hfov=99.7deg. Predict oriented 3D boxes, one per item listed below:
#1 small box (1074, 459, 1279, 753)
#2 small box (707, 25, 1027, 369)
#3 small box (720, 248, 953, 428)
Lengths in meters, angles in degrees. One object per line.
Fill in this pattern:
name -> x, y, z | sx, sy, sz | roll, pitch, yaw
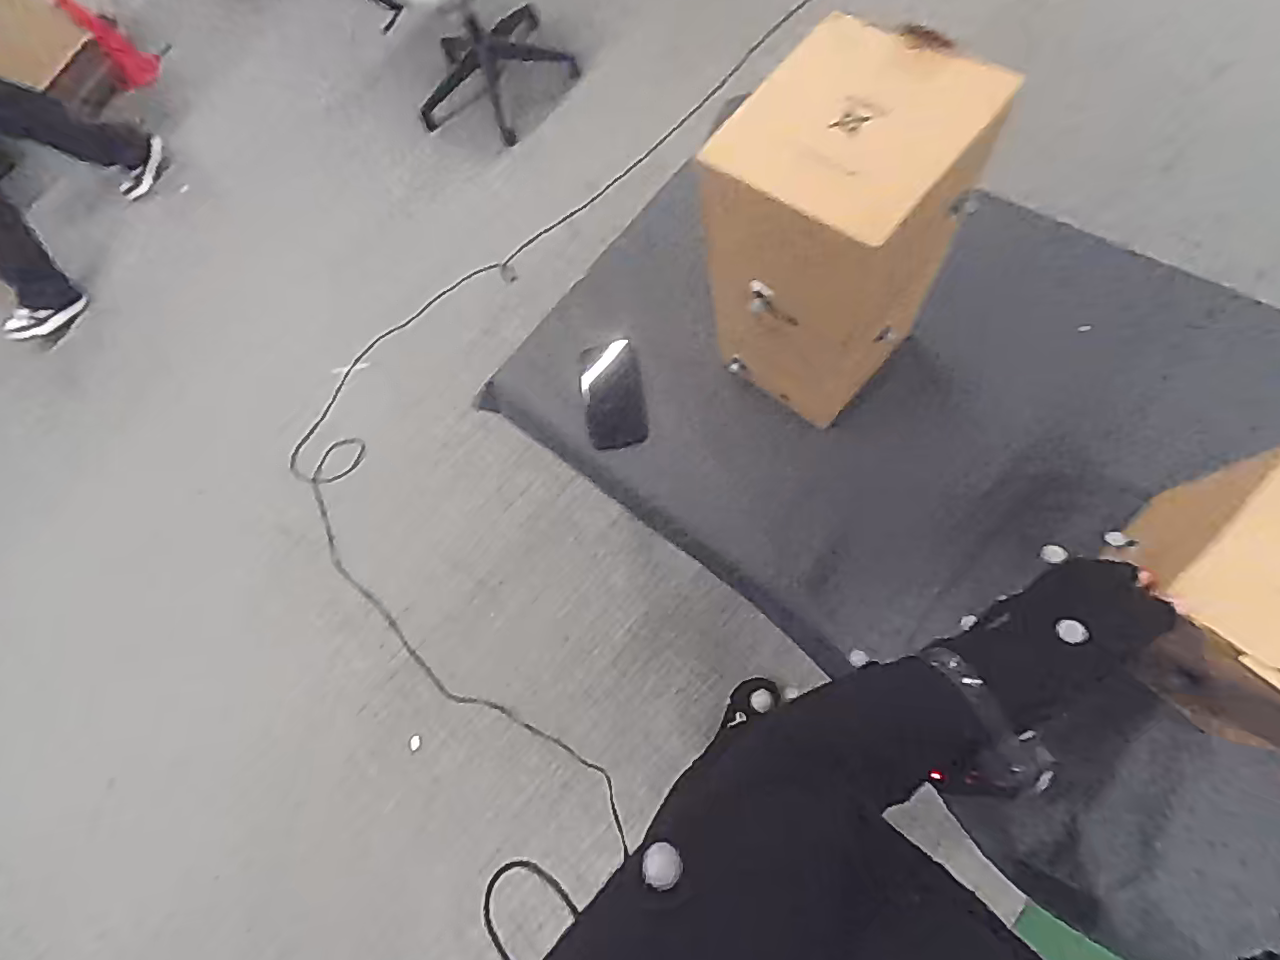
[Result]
small box -> 0.527, 0.113, 0.461 | 0.179, 0.176, 0.168 | -44, 68, -4
small box -> 0.180, -0.236, 0.480 | 0.168, 0.176, 0.179 | 39, 84, 22
small box -> 0.216, -0.190, 0.631 | 0.168, 0.176, 0.179 | 40, 83, 21
